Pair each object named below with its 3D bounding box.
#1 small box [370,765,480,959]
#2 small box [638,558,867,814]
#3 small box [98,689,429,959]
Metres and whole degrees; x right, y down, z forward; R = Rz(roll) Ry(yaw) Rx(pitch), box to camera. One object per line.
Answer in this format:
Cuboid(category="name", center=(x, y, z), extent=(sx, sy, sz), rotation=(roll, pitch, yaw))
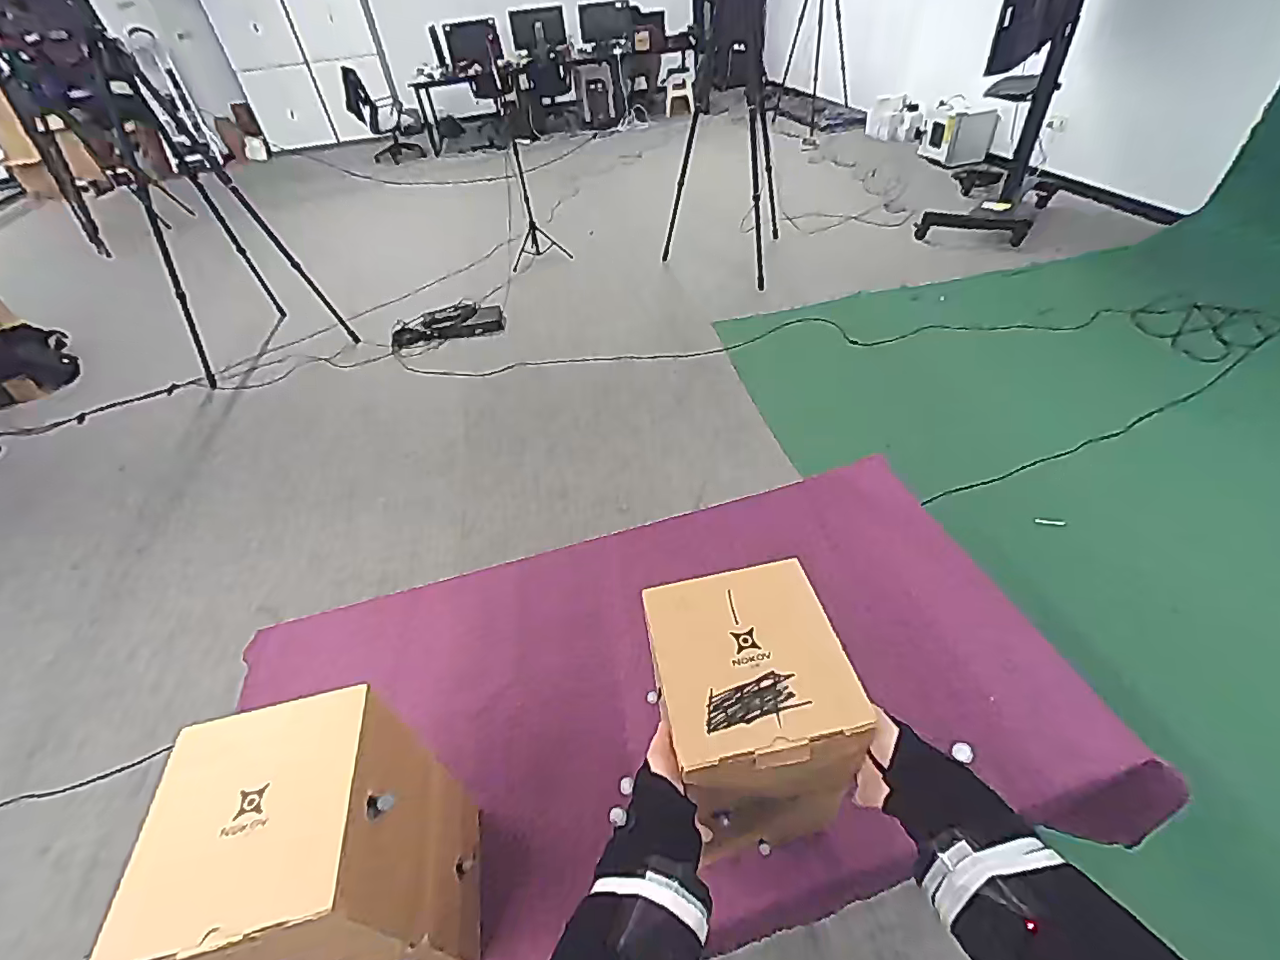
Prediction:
Cuboid(category="small box", center=(-0.283, 0.449, 0.598), extent=(0.179, 0.176, 0.168), rotation=(-14, 43, -5))
Cuboid(category="small box", center=(0.101, 0.211, 0.544), extent=(0.168, 0.176, 0.179), rotation=(-12, 42, -3))
Cuboid(category="small box", center=(-0.305, 0.326, 0.493), extent=(0.168, 0.176, 0.179), rotation=(-13, 44, -5))
